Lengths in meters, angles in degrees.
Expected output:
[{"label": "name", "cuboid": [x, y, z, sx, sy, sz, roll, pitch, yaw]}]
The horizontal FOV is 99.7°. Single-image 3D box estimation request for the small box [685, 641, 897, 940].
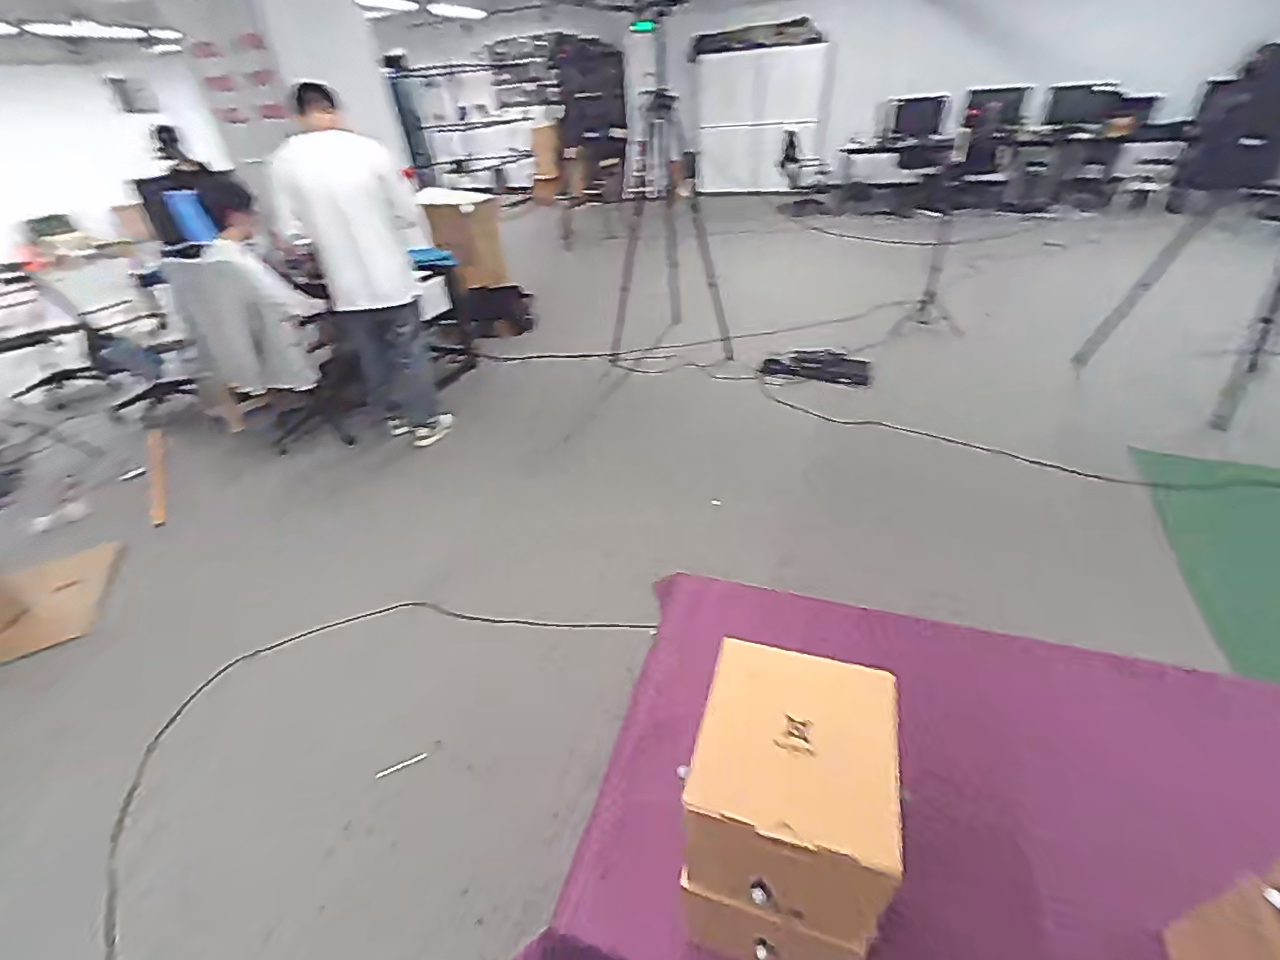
[{"label": "small box", "cuboid": [0.144, 0.295, 0.529, 0.168, 0.176, 0.179, 8, 38, 17]}]
